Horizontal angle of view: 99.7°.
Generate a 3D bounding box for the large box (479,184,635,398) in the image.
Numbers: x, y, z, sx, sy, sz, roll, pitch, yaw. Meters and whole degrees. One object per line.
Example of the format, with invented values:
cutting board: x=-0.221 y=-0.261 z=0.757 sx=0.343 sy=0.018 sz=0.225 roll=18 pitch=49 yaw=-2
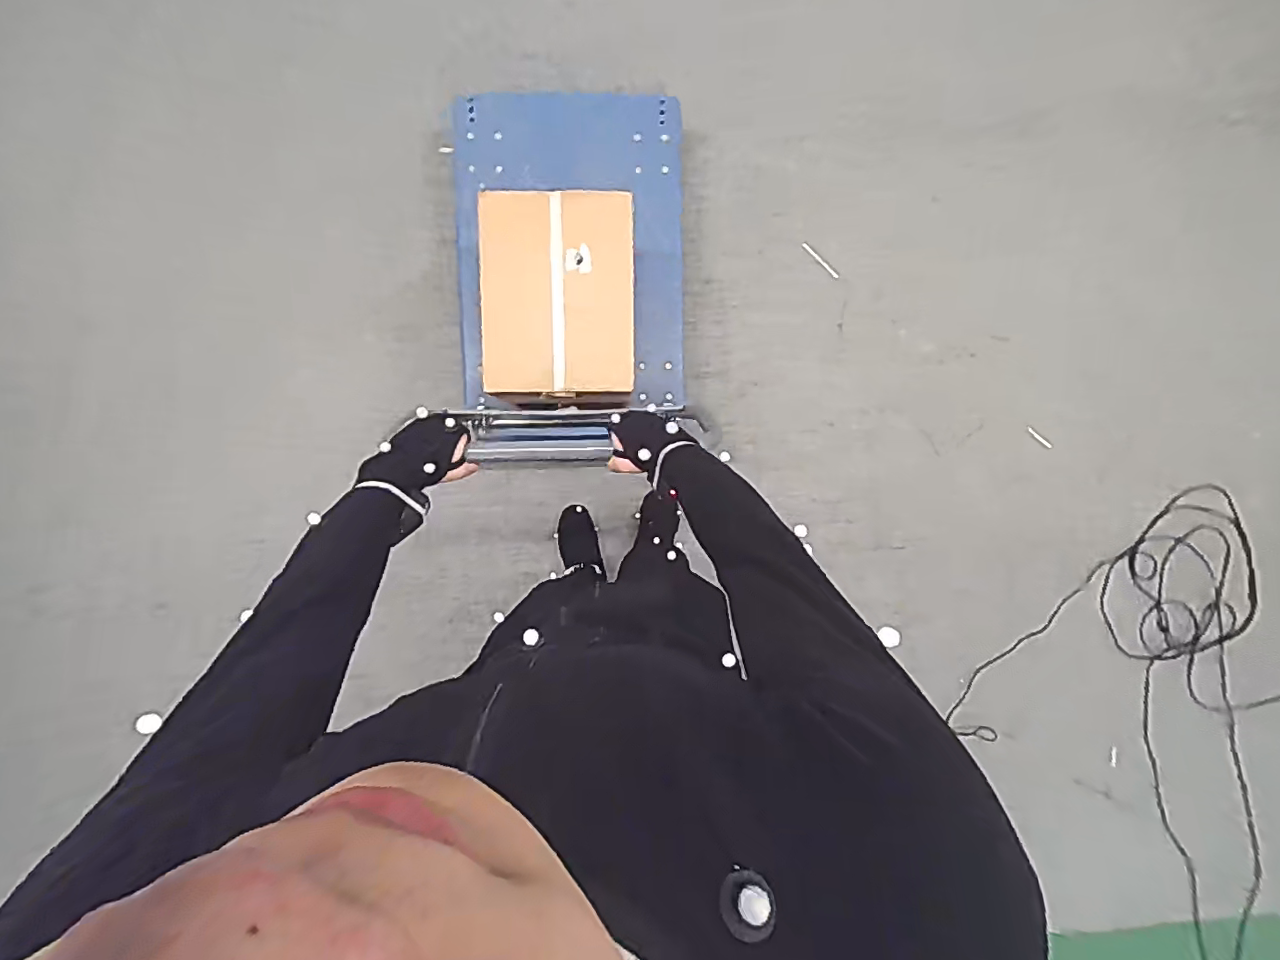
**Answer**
large box: x=-0.175 y=-0.409 z=1.259 sx=0.320 sy=0.320 sz=0.408 roll=-1 pitch=93 yaw=-3
